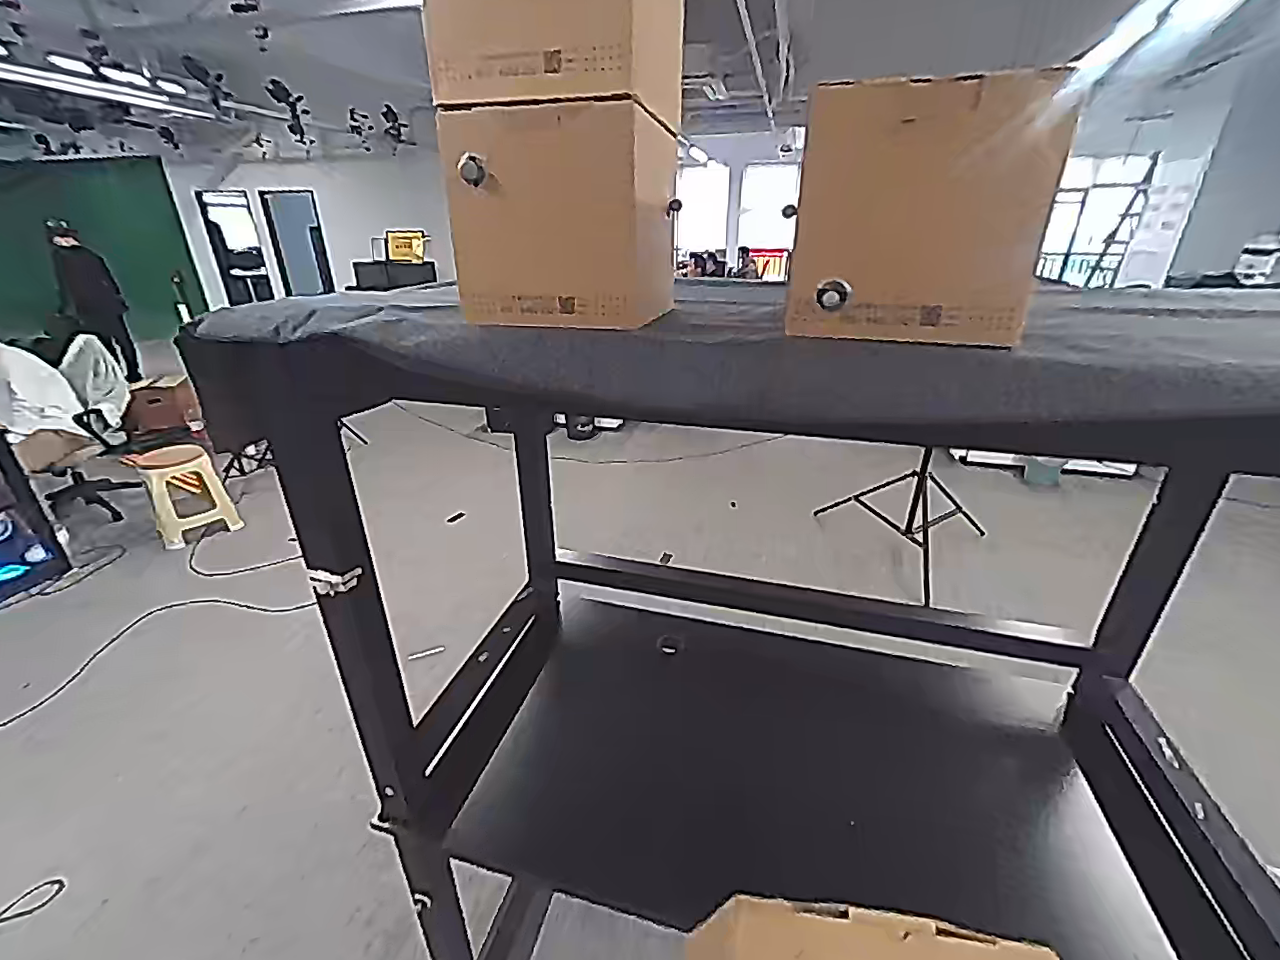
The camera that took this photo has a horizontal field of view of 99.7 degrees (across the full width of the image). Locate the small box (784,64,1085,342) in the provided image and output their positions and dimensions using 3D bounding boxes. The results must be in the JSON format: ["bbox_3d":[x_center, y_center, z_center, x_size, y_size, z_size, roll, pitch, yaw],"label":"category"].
[{"bbox_3d":[0.215,-0.212,0.449,0.168,0.176,0.179,7,24,14],"label":"small box"}]

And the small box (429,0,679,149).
[{"bbox_3d":[-0.061,-0.391,0.451,0.168,0.176,0.179,7,24,14],"label":"small box"}]
